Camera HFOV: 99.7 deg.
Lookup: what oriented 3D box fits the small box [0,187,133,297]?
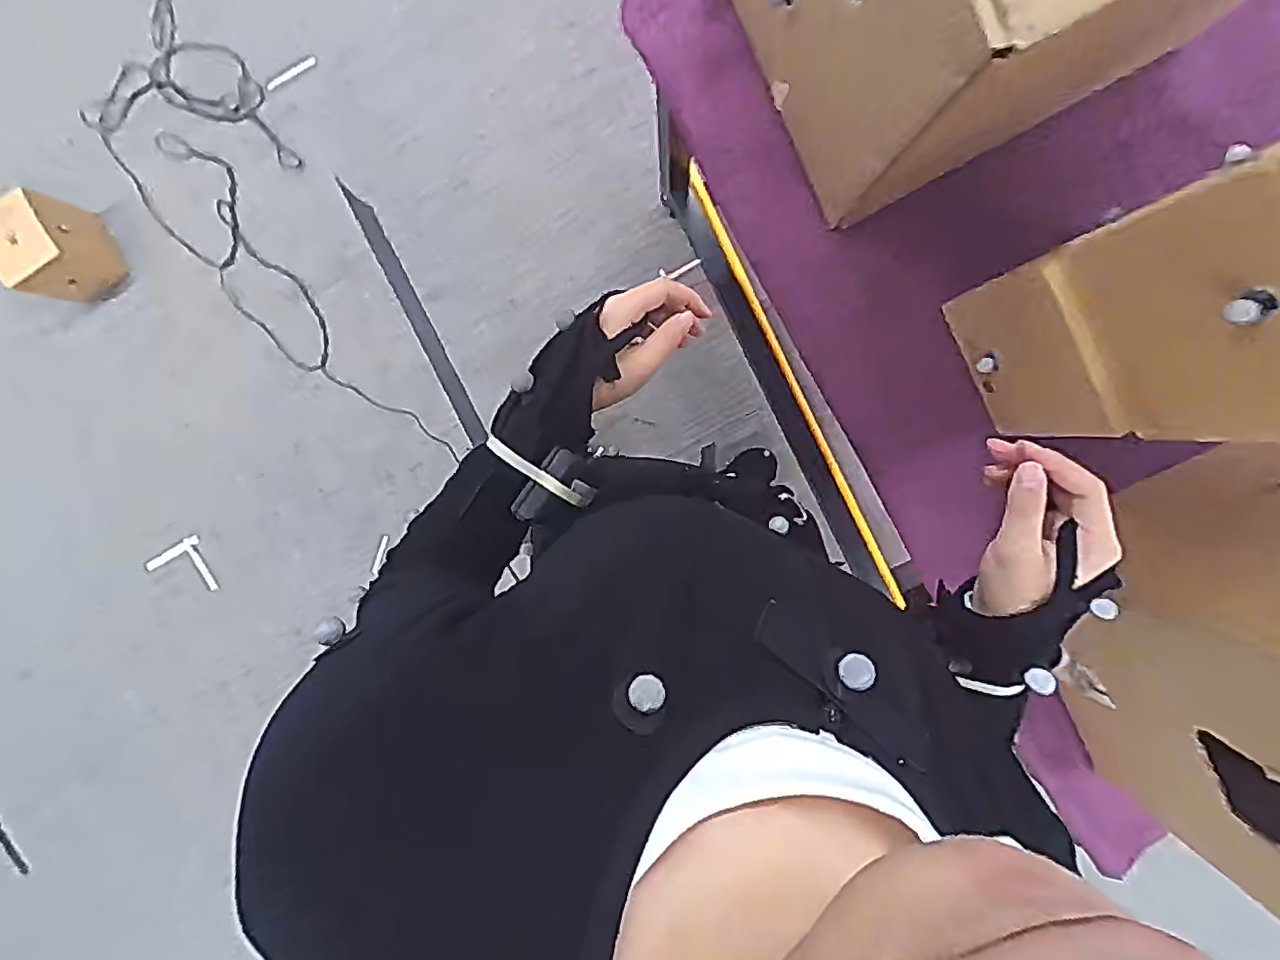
[{"bbox_3d":[-1.428,-0.573,1.335,0.168,0.176,0.179,-28,93,6],"label":"small box"}]

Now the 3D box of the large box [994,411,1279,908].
[{"bbox_3d":[0.642,0.136,0.473,0.408,0.320,0.320,-27,94,4],"label":"large box"}]
